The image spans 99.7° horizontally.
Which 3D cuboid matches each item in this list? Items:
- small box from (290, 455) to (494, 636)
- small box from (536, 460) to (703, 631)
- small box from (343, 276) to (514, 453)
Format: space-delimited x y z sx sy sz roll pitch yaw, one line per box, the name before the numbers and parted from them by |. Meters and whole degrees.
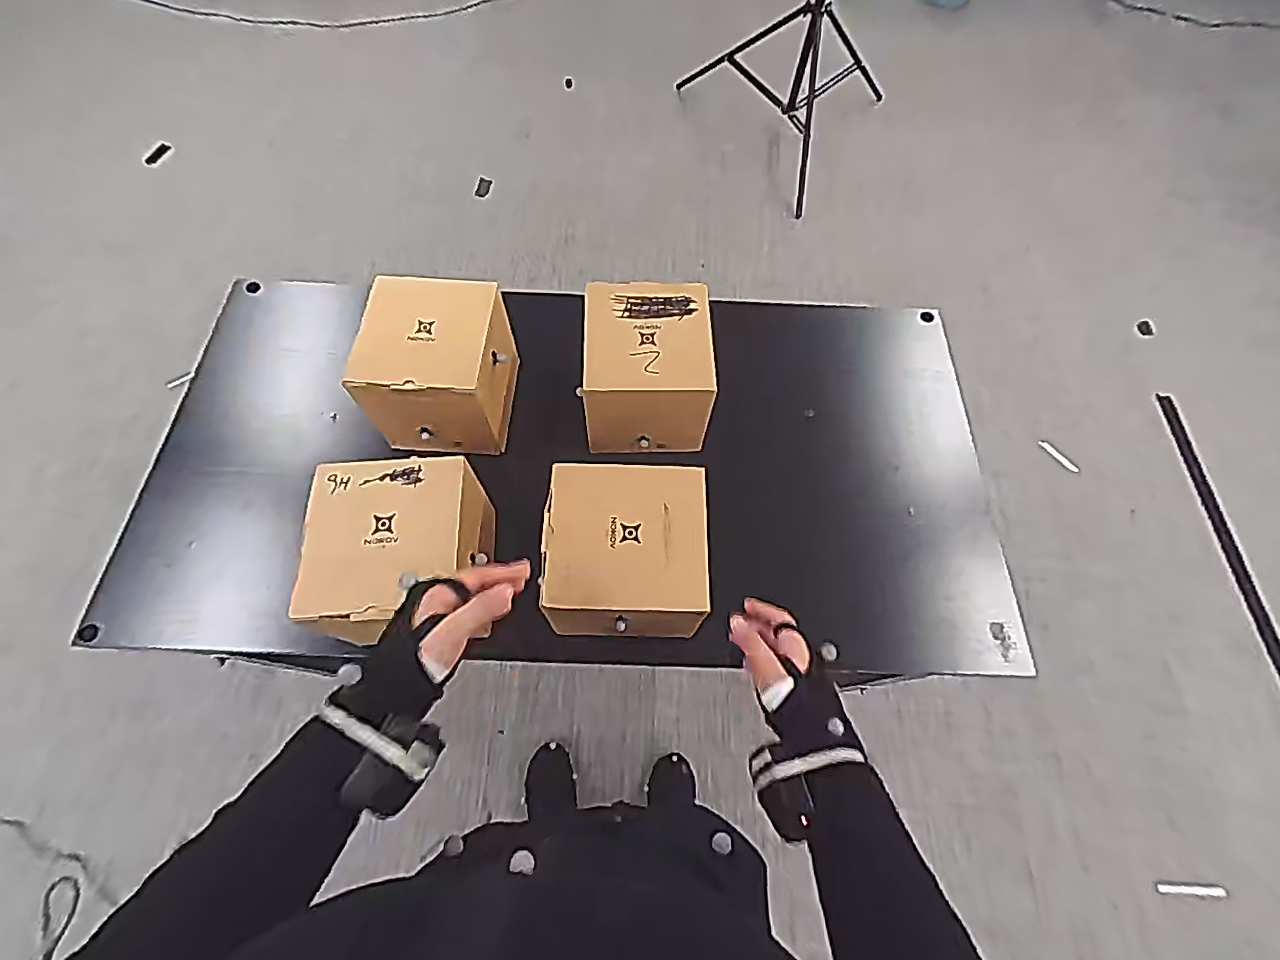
small box | -0.278 0.087 0.650 0.168 0.176 0.179 -4 65 -3
small box | -0.021 0.087 0.659 0.179 0.176 0.168 1 66 -1
small box | -0.281 -0.158 0.766 0.168 0.176 0.179 3 65 0
